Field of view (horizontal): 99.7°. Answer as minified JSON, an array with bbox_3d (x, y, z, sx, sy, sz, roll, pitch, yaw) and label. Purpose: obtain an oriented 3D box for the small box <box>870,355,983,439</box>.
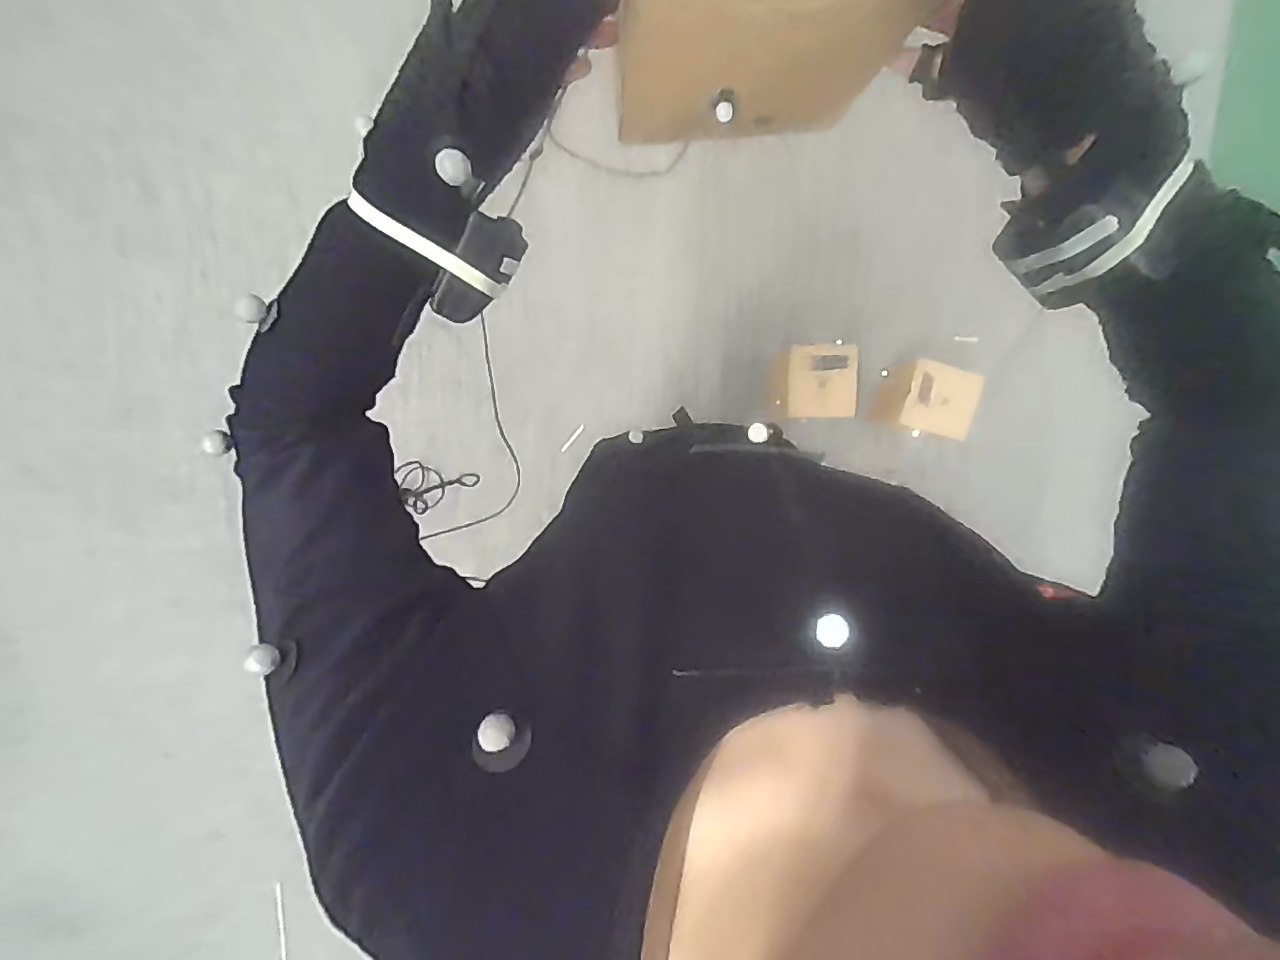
[{"bbox_3d":[0.722,-0.207,1.384,0.179,0.176,0.168,16,96,-4],"label":"small box"}]
